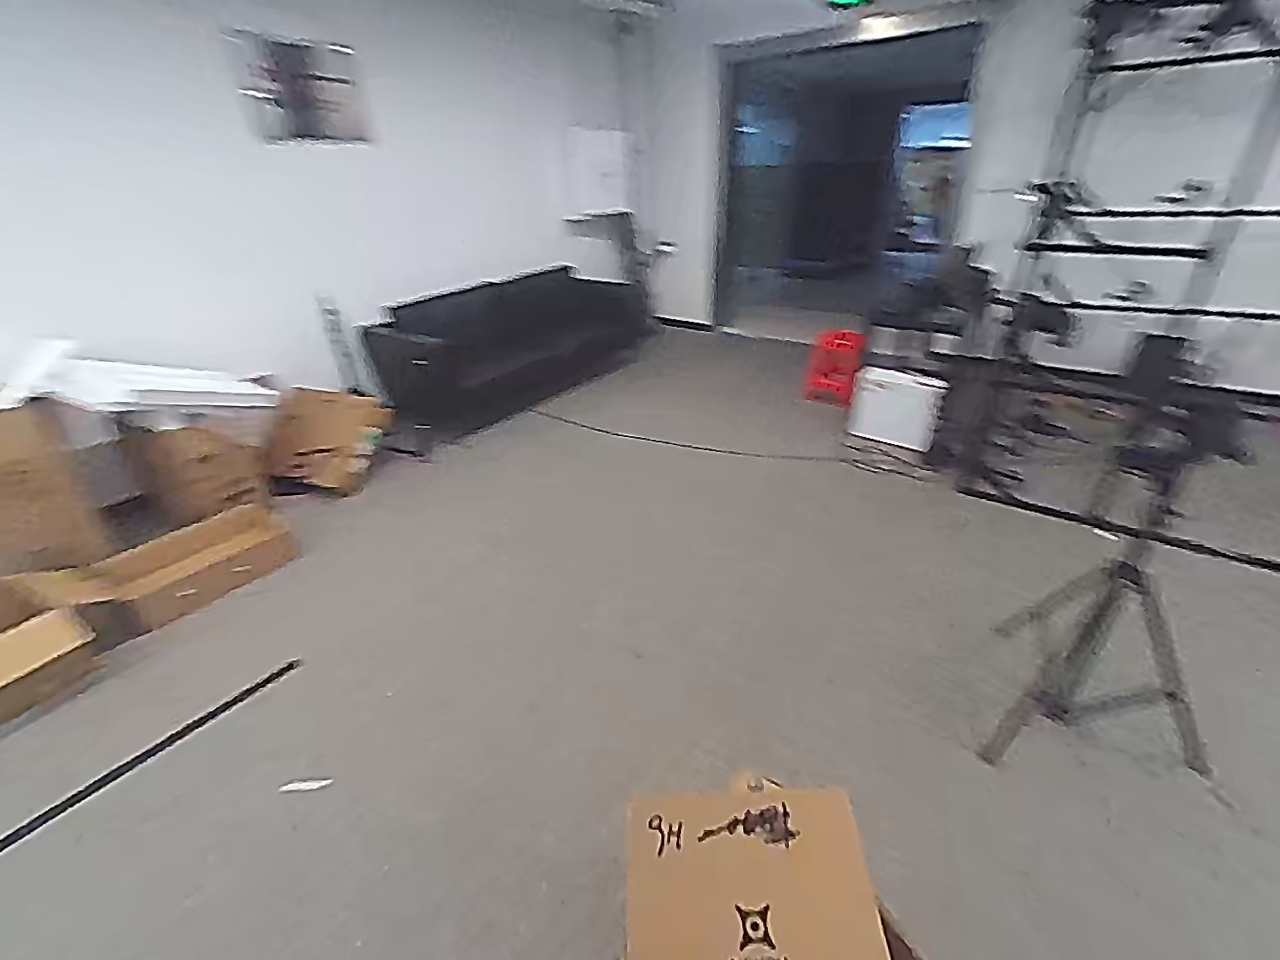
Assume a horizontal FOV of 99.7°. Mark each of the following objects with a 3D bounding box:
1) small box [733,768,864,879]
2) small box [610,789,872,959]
[{"bbox_3d":[0.173,0.532,0.704,0.168,0.176,0.179,16,37,33],"label":"small box"},{"bbox_3d":[0.067,0.349,0.403,0.168,0.176,0.179,-3,48,0],"label":"small box"}]
